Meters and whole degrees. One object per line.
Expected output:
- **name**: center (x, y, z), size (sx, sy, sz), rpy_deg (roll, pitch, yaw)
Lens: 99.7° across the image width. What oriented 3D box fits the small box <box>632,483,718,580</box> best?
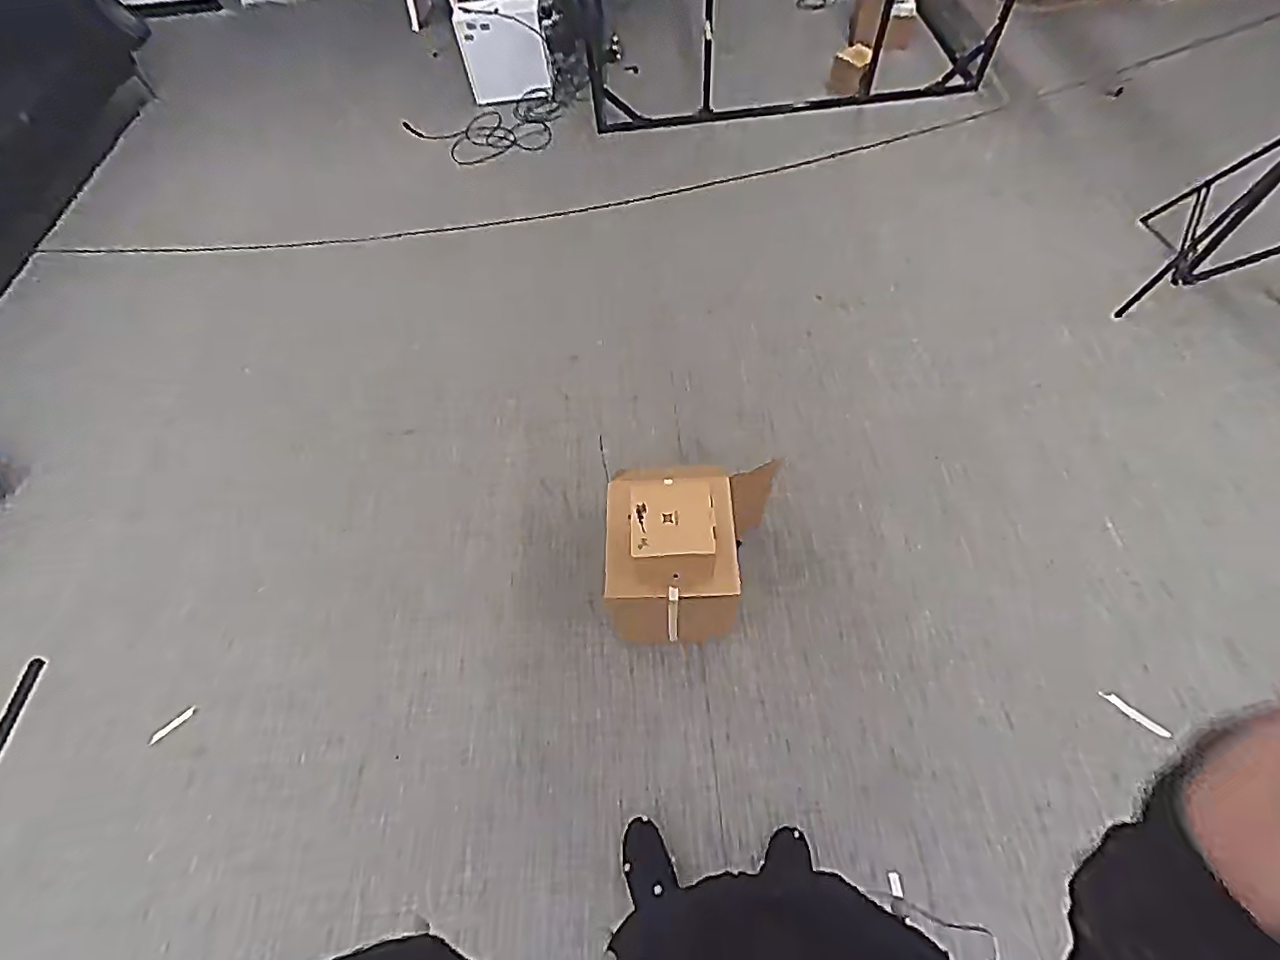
- **small box**: center (0.074, 0.117, 1.192), size (0.179, 0.176, 0.168), rpy_deg (-2, 61, 3)
